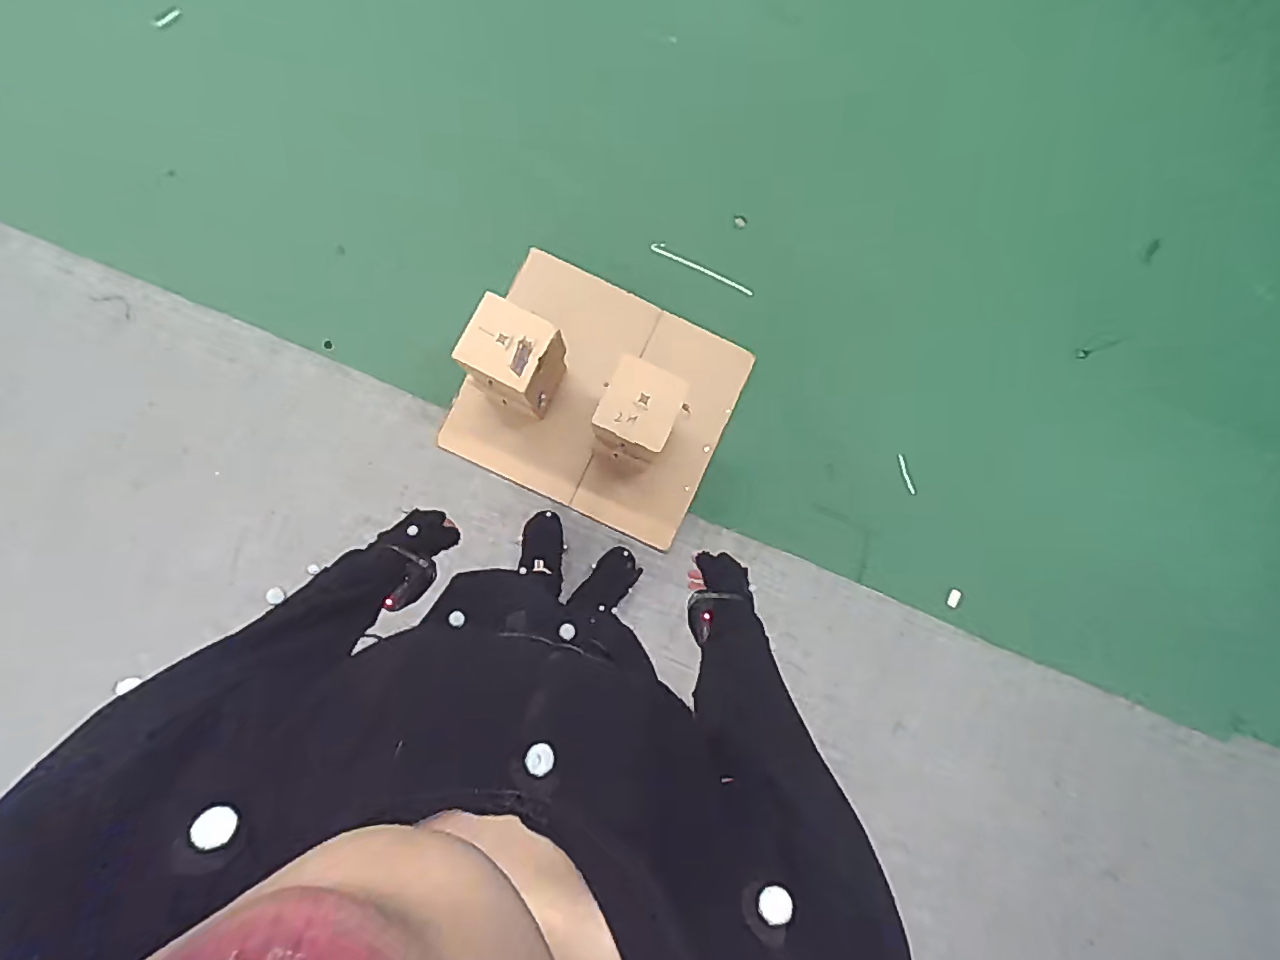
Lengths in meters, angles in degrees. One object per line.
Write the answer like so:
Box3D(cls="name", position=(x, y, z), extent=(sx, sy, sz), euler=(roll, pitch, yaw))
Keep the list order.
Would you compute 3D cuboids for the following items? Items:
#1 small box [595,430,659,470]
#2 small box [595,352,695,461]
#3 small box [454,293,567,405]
Box3D(cls="small box", position=(-0.009, -0.139, 1.399), extent=(0.168, 0.176, 0.179), euler=(23, 86, -2))
Box3D(cls="small box", position=(0.006, -0.159, 1.235), extent=(0.168, 0.176, 0.179), euler=(26, 86, -1))
Box3D(cls="small box", position=(-0.281, -0.284, 1.223), extent=(0.179, 0.176, 0.168), euler=(28, 85, 1))
